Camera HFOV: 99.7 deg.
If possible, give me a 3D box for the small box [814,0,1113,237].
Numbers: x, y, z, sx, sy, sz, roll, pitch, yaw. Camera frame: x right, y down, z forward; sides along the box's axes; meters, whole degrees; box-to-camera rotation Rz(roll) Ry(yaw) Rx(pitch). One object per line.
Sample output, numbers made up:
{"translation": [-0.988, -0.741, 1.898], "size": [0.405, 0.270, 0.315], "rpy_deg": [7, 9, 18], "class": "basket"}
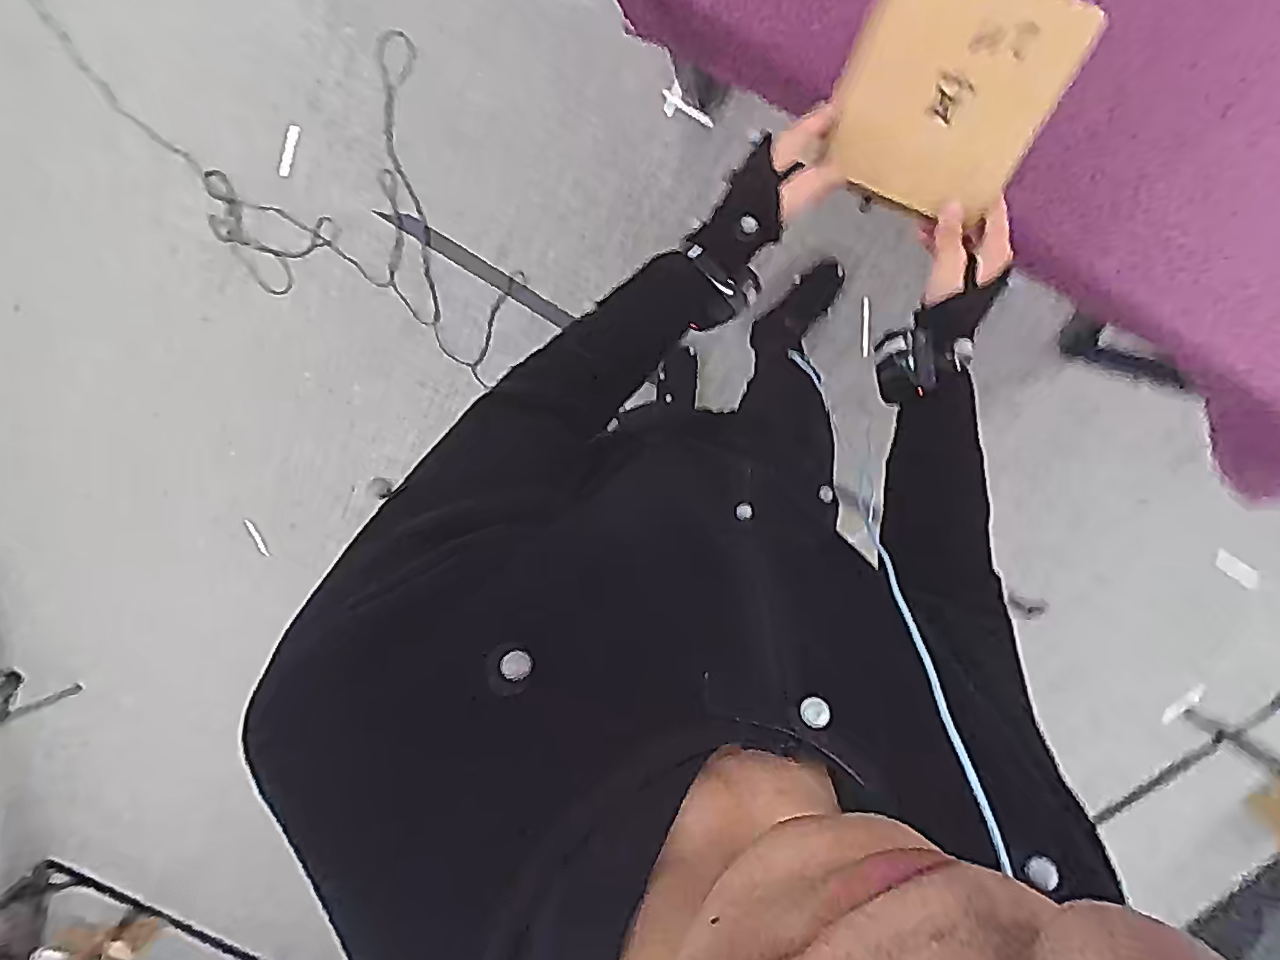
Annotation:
{"translation": [0.290, -0.367, 0.541], "size": [0.168, 0.176, 0.179], "rpy_deg": [23, 118, -2], "class": "small box"}
